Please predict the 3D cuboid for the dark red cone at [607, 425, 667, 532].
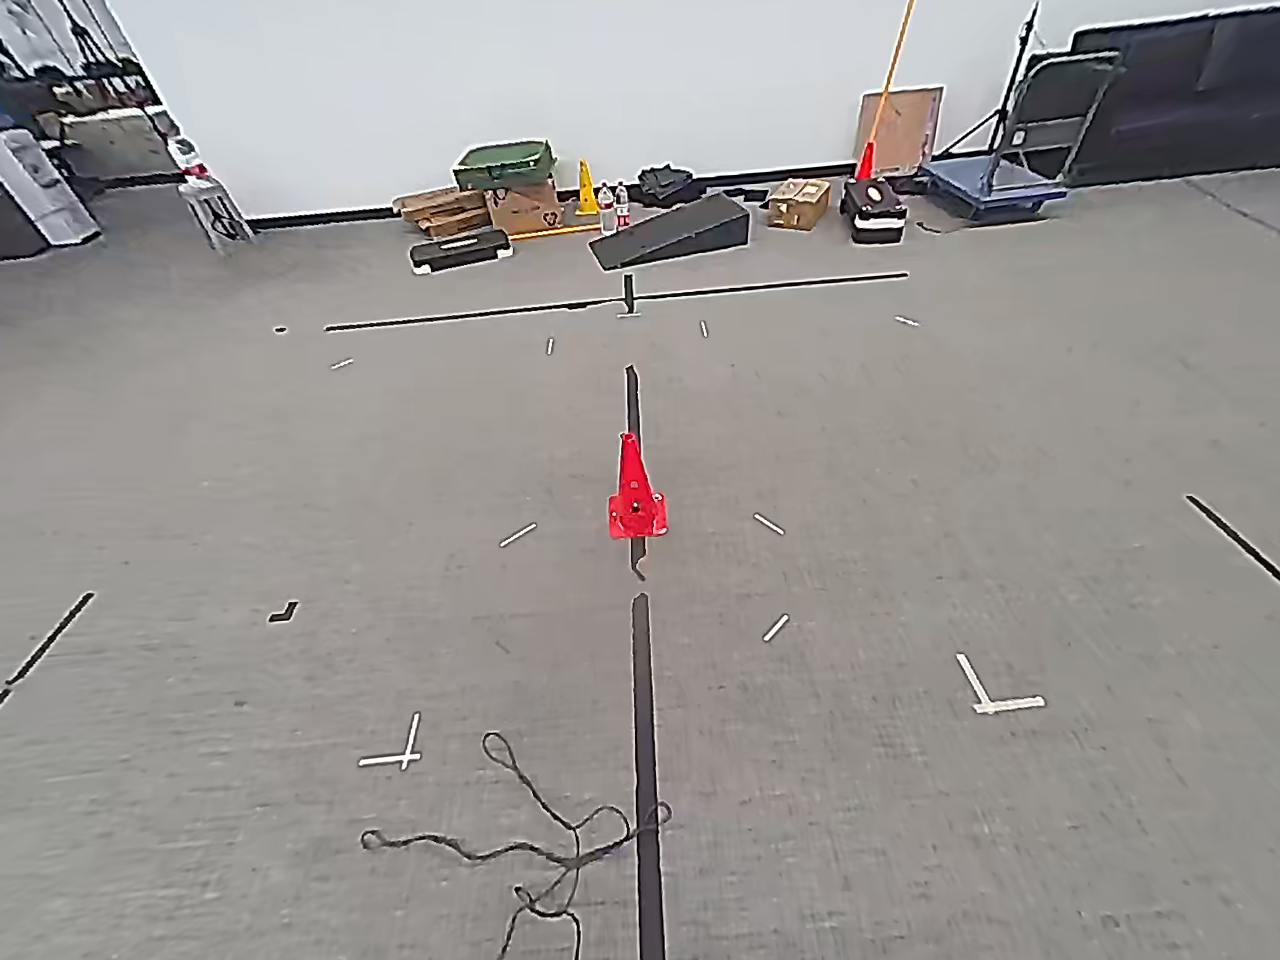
[{"bbox_3d":[-0.027,-0.019,1.756,0.201,0.394,0.202,-6,44,1],"label":"dark red cone"}]
